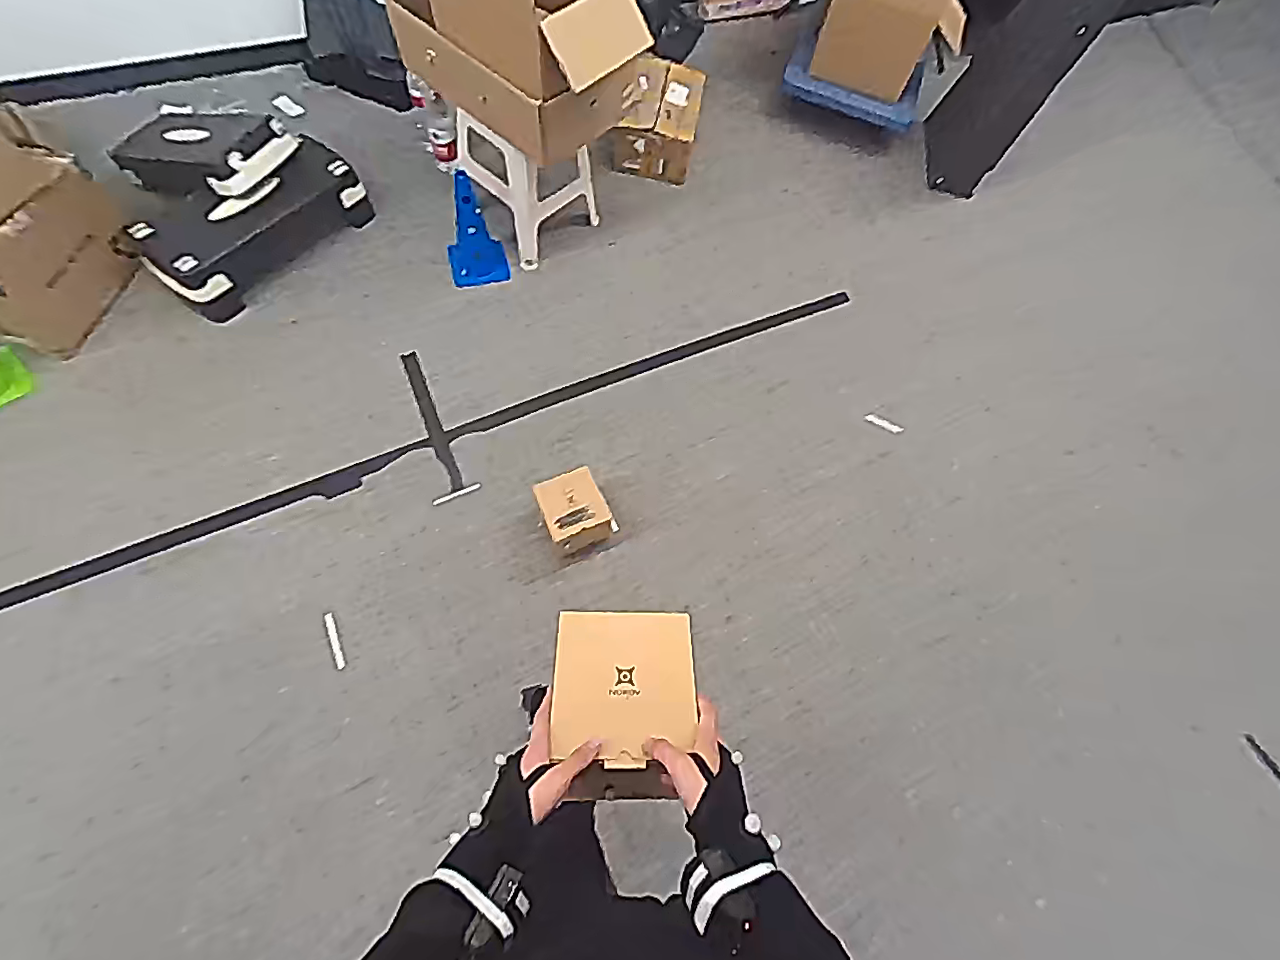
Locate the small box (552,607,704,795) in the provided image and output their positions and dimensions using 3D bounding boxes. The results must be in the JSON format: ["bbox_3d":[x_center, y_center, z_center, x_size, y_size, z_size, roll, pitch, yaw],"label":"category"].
[{"bbox_3d":[-0.019,0.280,0.685,0.168,0.176,0.179,2,49,-4],"label":"small box"}]
